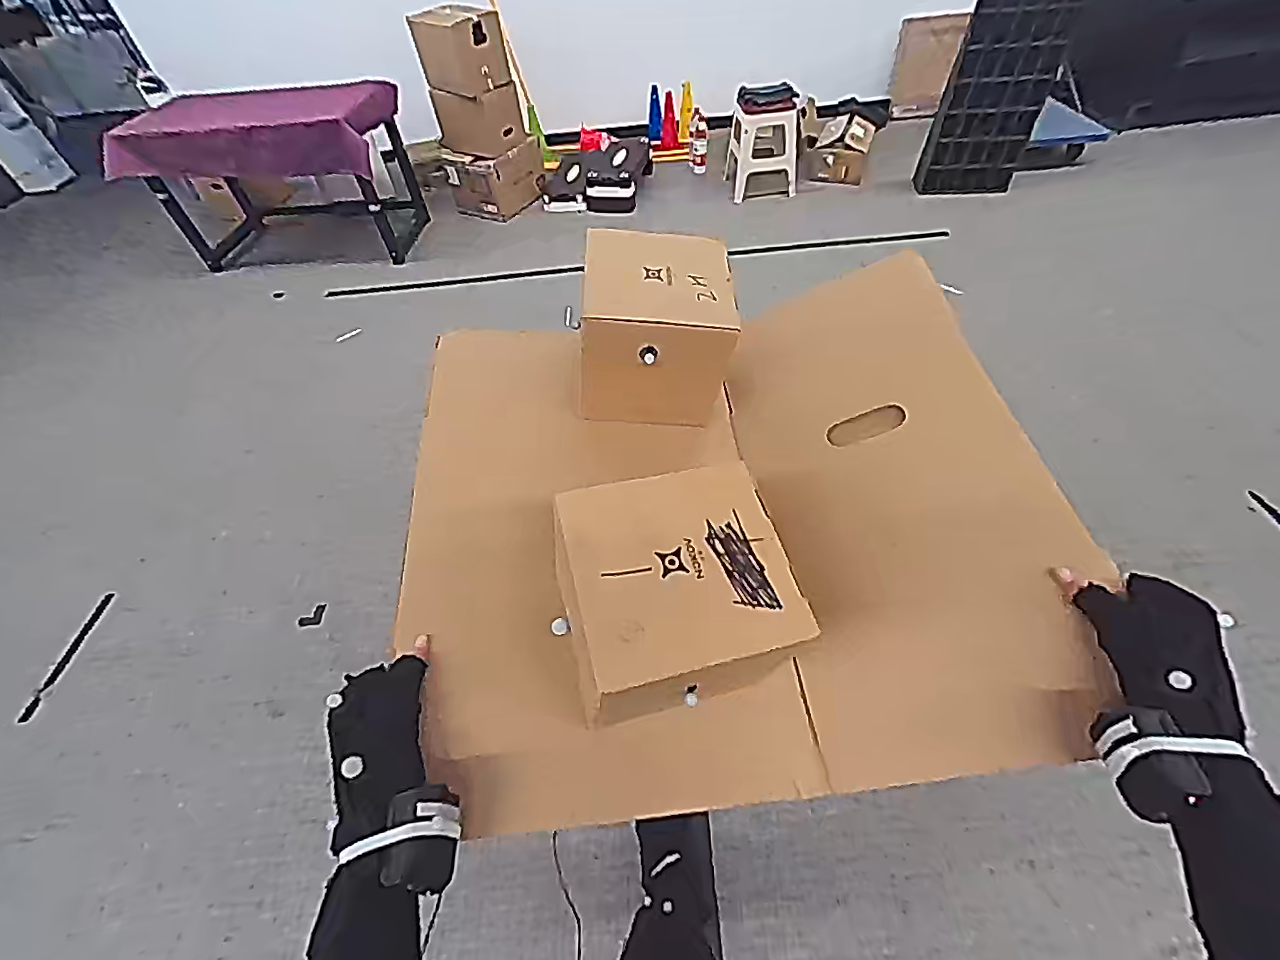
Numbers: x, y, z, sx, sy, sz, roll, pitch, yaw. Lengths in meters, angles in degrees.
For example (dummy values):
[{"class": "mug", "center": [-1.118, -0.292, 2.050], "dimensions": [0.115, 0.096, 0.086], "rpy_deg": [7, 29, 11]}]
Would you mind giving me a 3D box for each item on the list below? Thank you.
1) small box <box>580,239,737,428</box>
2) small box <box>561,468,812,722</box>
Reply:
[{"class": "small box", "center": [0.013, -0.183, 0.702], "dimensions": [0.179, 0.176, 0.168], "rpy_deg": [3, 57, -6]}, {"class": "small box", "center": [0.024, 0.112, 0.509], "dimensions": [0.179, 0.176, 0.168], "rpy_deg": [-10, 59, -13]}]
